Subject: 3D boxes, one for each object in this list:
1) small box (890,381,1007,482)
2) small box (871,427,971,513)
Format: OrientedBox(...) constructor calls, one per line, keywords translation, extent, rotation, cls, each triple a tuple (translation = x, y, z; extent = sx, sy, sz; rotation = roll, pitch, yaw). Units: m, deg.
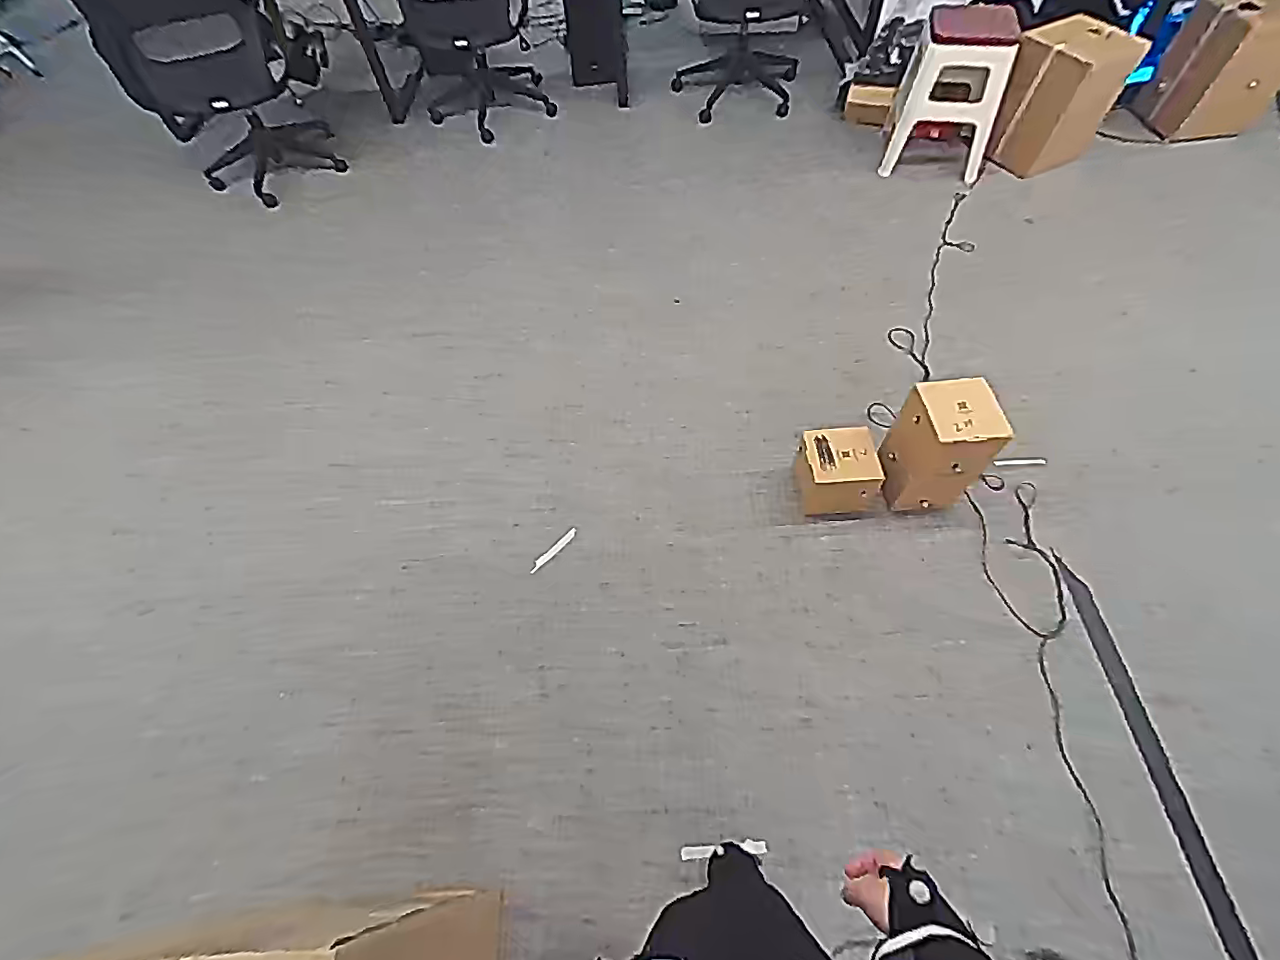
OrientedBox(translation=(0.731, -0.115, 1.308), extent=(0.168, 0.176, 0.179), rotation=(-5, 59, 2), cls="small box")
OrientedBox(translation=(0.740, -0.029, 1.448), extent=(0.168, 0.176, 0.179), rotation=(-4, 59, 2), cls="small box")
